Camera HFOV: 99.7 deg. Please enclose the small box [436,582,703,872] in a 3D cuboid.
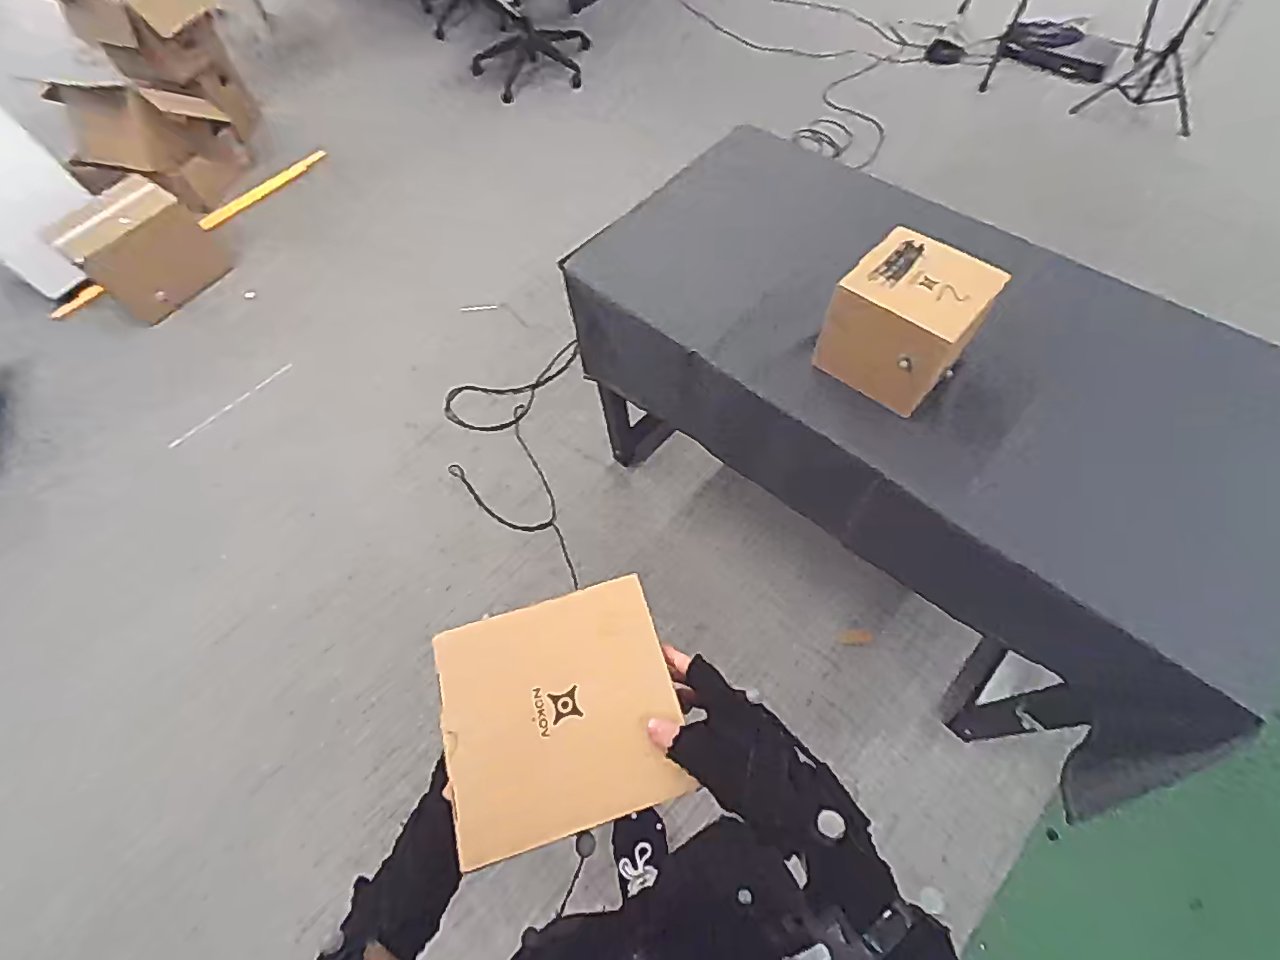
[{"bbox_3d":[-0.058,0.212,0.481,0.179,0.176,0.168,-16,62,-6],"label":"small box"}]
